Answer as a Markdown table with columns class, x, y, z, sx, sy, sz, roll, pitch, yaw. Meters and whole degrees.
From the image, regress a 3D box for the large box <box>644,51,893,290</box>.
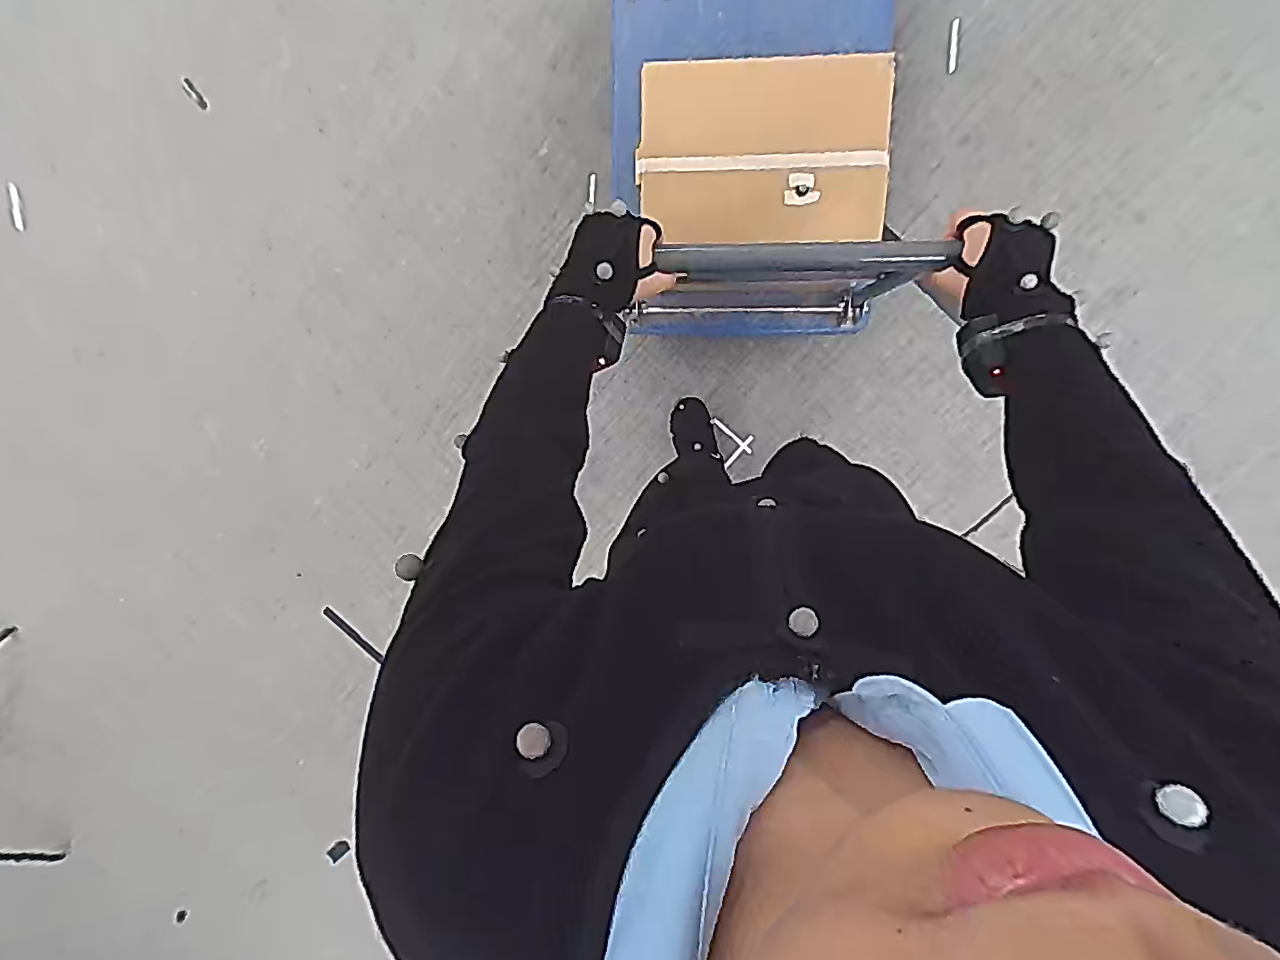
| class | x | y | z | sx | sy | sz | roll | pitch | yaw |
| --- | --- | --- | --- | --- | --- | --- | --- | --- | --- |
| large box | 0.216 | -0.558 | 1.046 | 0.408 | 0.320 | 0.320 | 1 | 101 | 4 |
